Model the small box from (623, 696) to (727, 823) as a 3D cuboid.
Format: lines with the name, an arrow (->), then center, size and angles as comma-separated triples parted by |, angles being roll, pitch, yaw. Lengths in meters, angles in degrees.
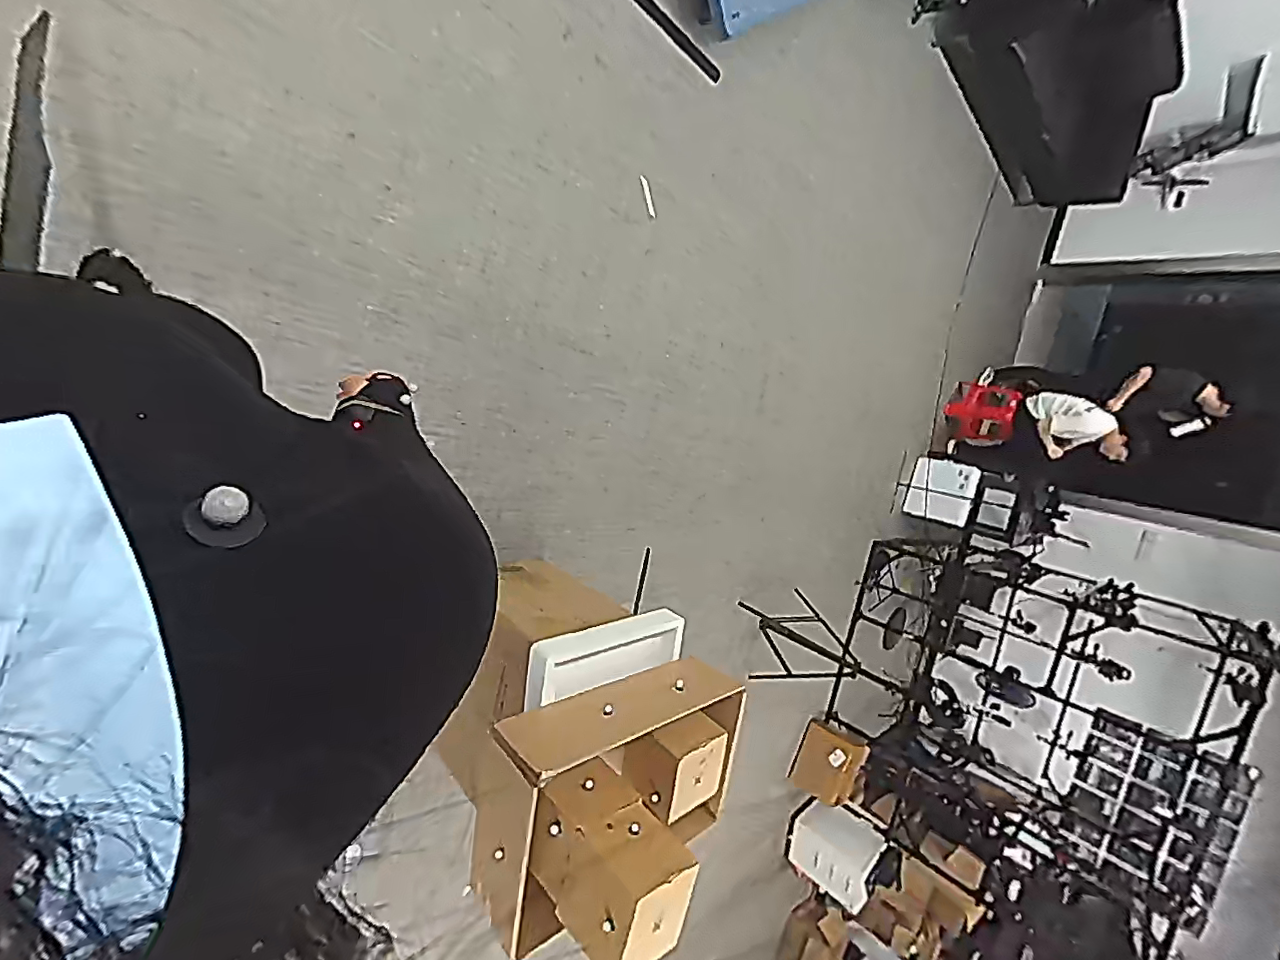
small box -> 0.078, 0.652, 1.284 | 0.168, 0.176, 0.179 | -4, 108, -42
